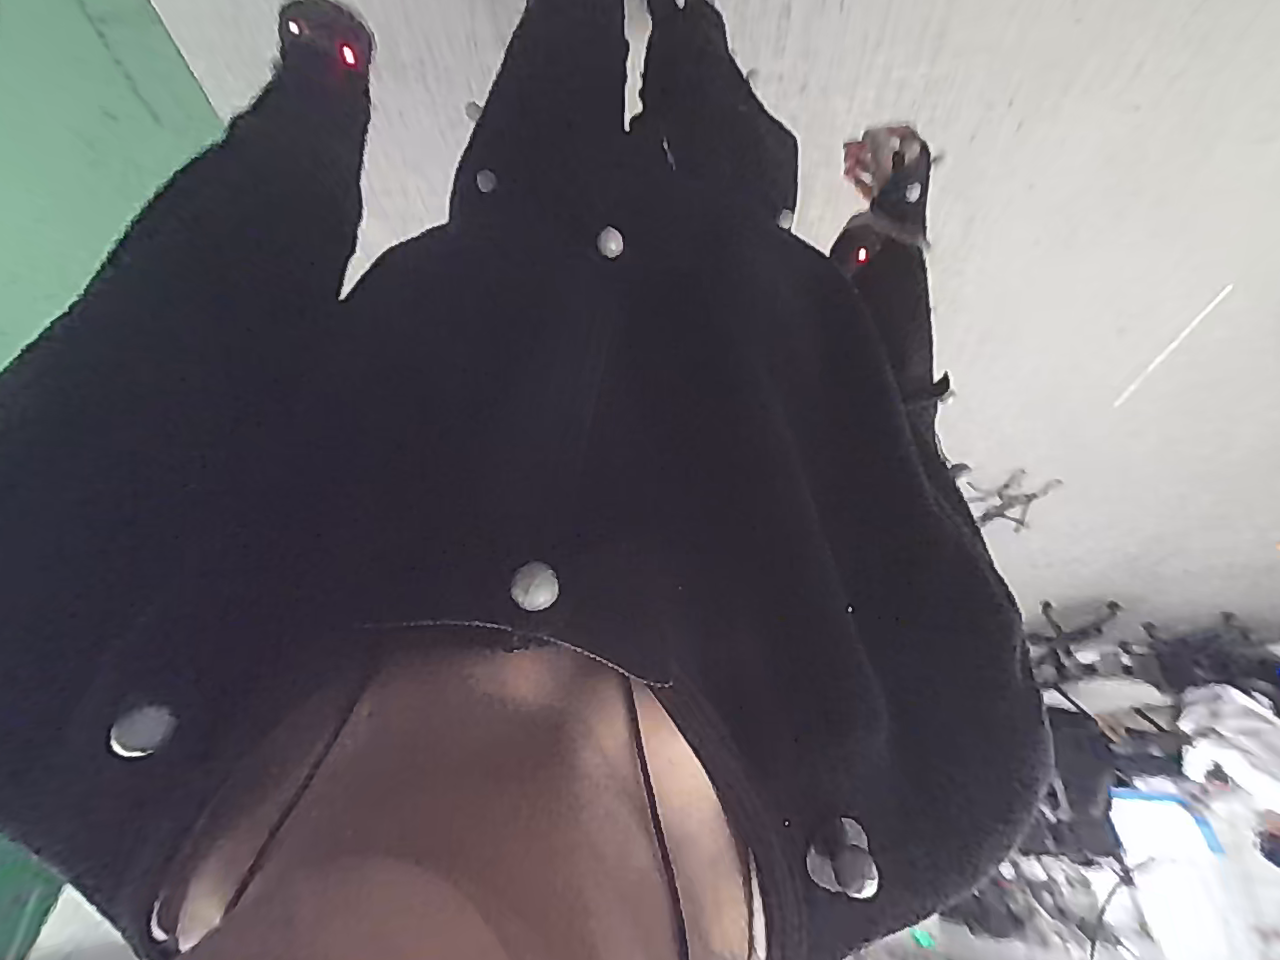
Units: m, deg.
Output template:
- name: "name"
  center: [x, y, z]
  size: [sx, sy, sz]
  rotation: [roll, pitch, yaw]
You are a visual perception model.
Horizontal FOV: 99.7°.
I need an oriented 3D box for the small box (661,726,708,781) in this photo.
- name: "small box"
  center: [0.179, 1.086, 2.151]
  size: [0.179, 0.176, 0.168]
  rotation: [-3, 143, 8]
